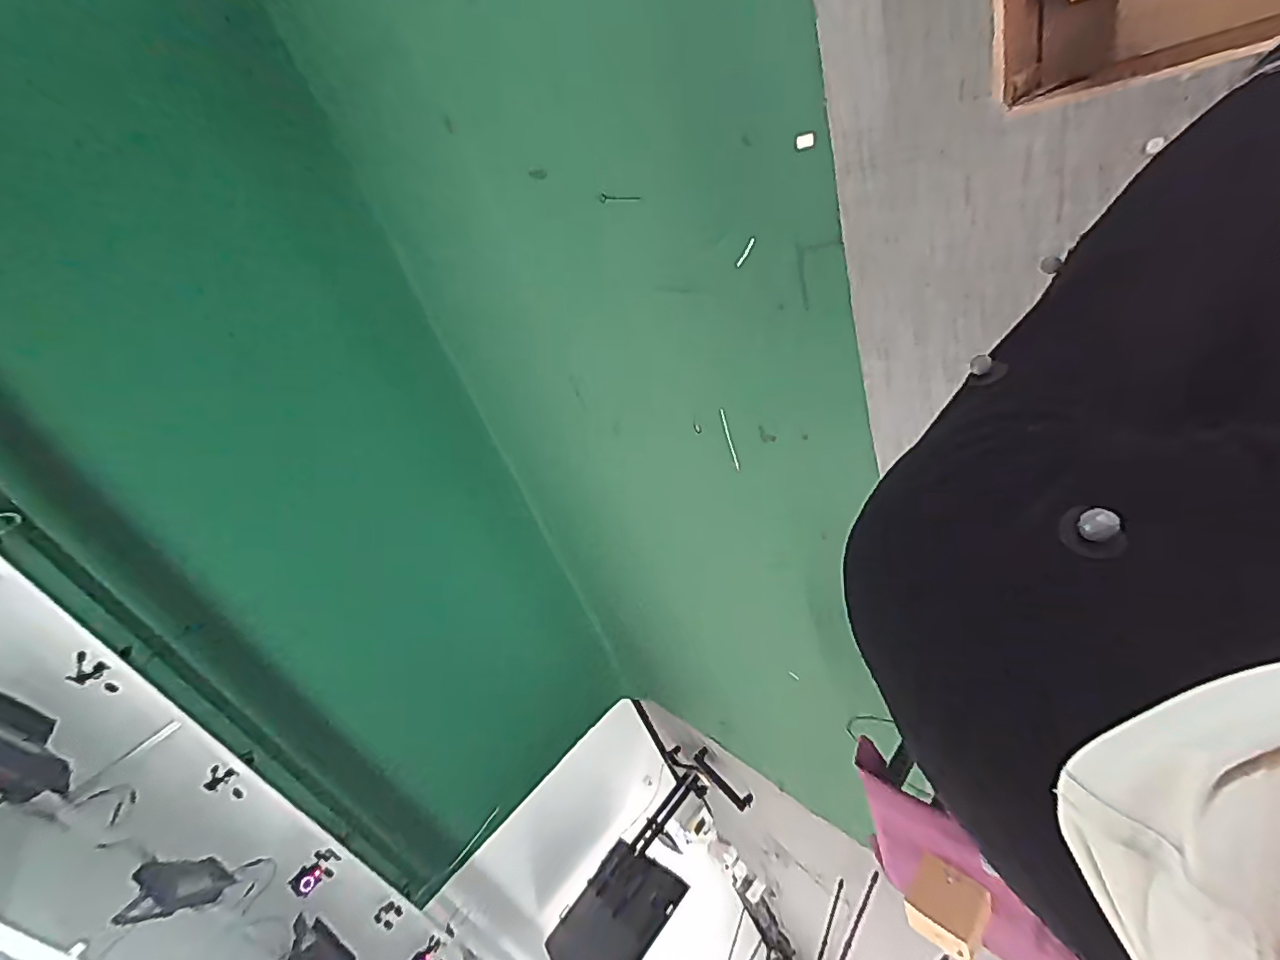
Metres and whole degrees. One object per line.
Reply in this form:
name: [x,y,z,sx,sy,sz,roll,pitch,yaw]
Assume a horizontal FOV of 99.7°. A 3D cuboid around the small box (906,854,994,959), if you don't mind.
small box: [0.918,1.253,1.598,0.179,0.176,0.168,13,134,48]
